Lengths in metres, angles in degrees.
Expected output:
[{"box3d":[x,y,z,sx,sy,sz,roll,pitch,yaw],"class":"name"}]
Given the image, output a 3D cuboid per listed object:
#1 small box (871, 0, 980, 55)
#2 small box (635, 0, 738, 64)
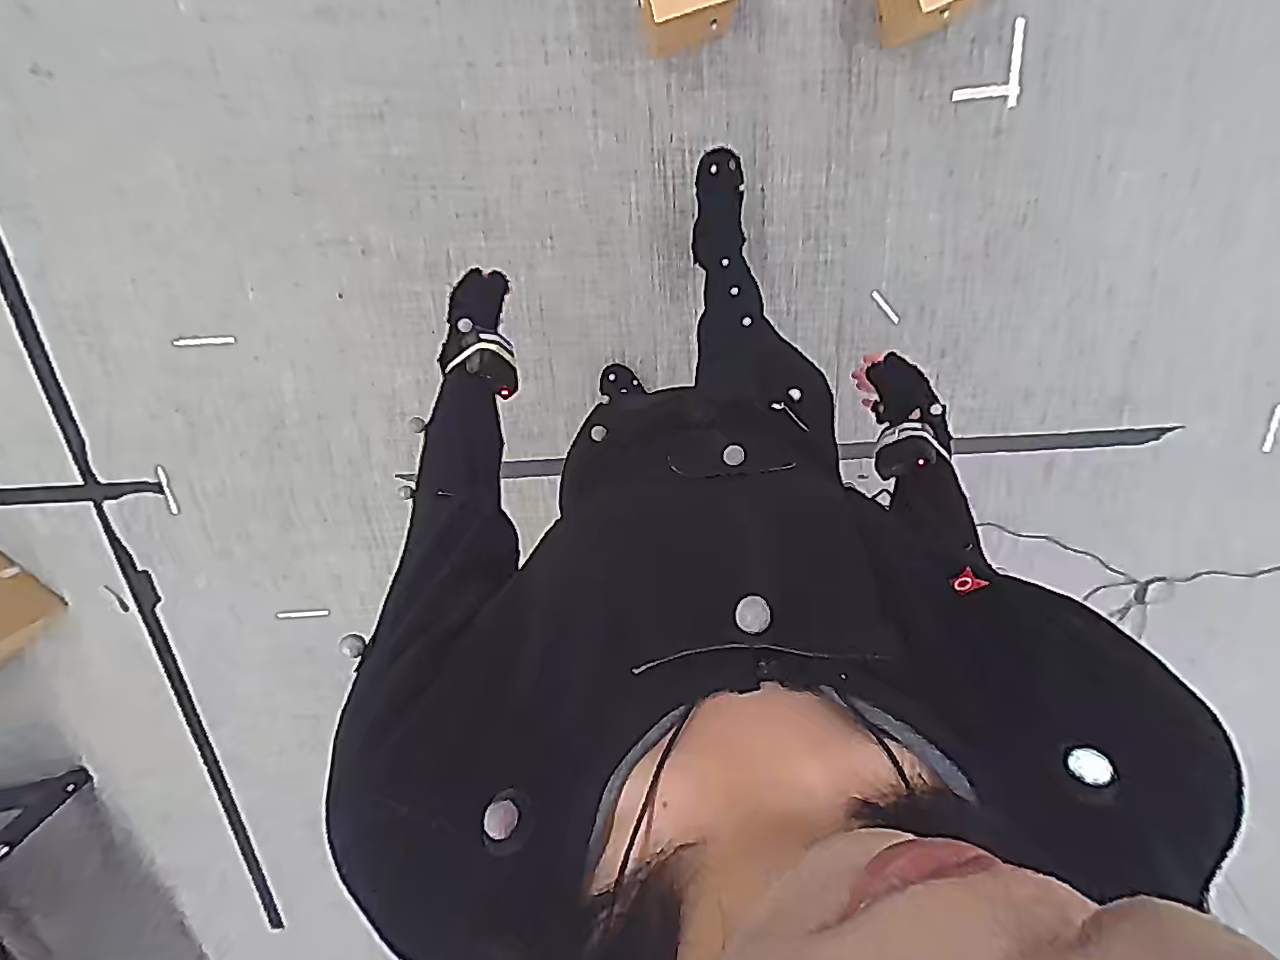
[{"box3d":[0.605,-1.047,1.137,0.179,0.176,0.168,-21,108,4],"class":"small box"},{"box3d":[0.088,-1.016,1.127,0.179,0.176,0.168,-16,107,4],"class":"small box"}]
